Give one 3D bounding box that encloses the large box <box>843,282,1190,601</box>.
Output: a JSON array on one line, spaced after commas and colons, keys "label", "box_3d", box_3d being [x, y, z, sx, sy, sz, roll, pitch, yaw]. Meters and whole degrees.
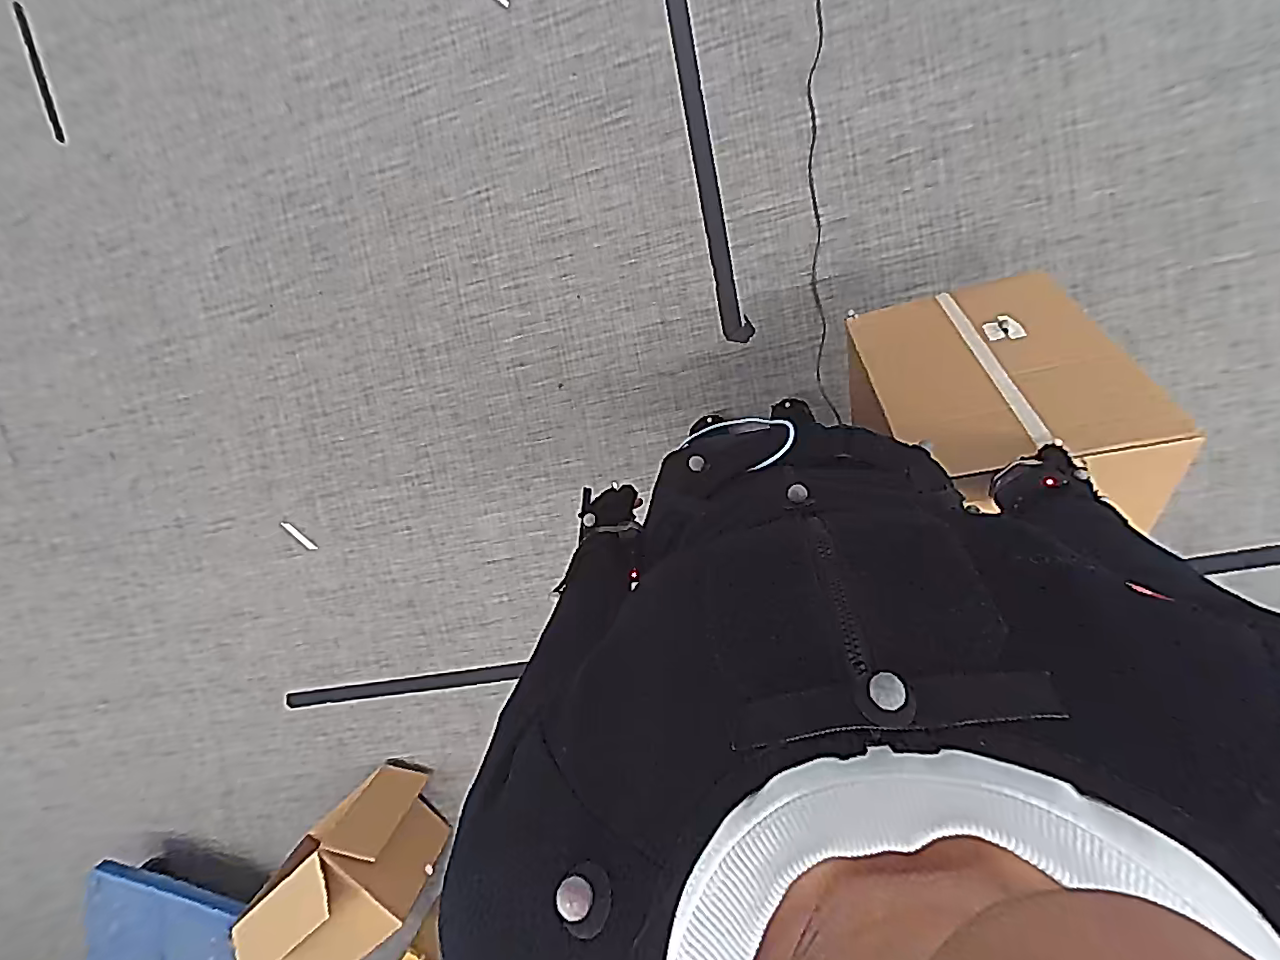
[{"label": "large box", "box_3d": [0.556, -0.063, 0.908, 0.320, 0.408, 0.320, -11, 134, 13]}]
